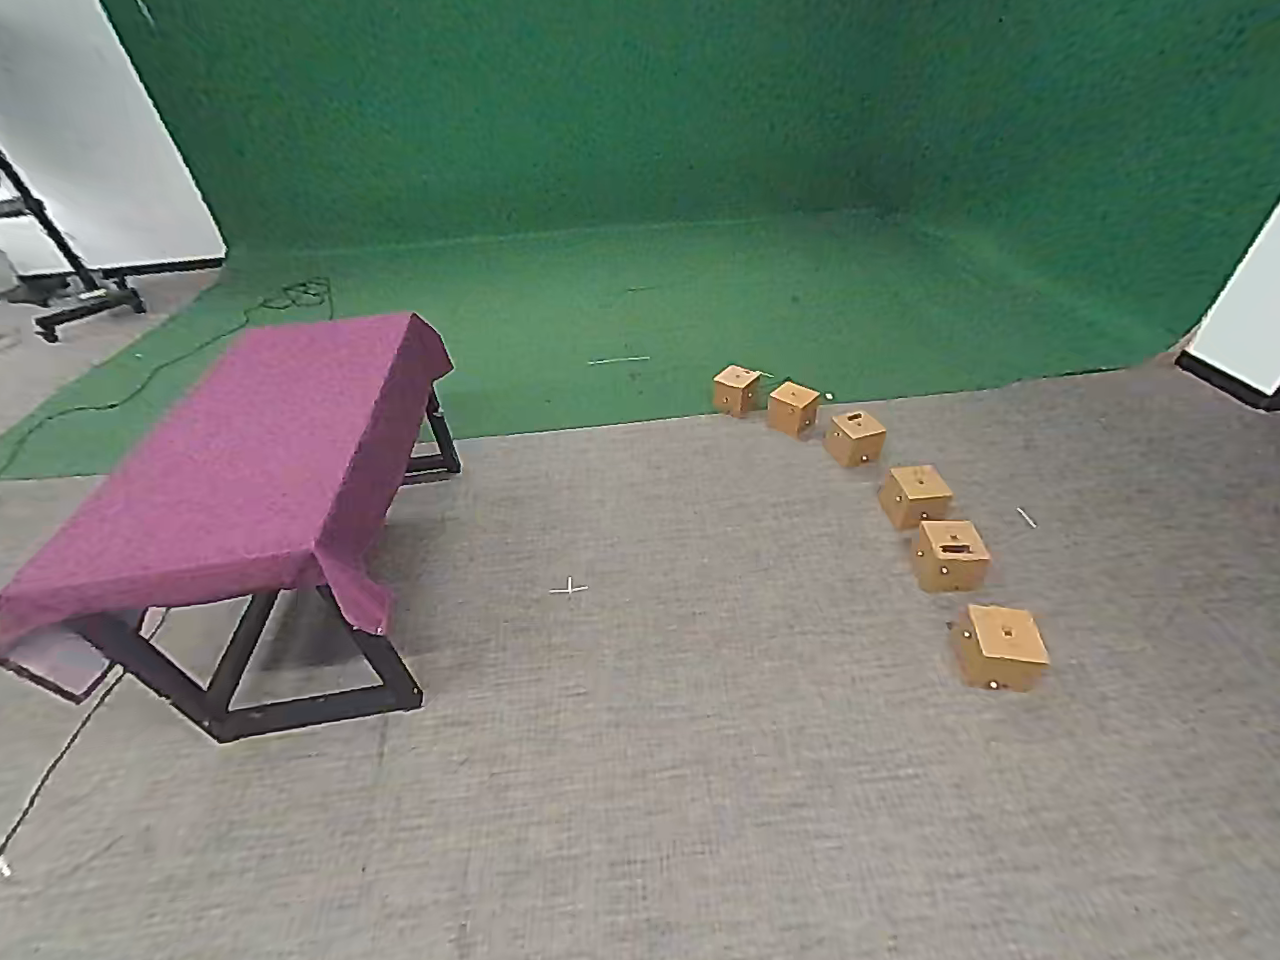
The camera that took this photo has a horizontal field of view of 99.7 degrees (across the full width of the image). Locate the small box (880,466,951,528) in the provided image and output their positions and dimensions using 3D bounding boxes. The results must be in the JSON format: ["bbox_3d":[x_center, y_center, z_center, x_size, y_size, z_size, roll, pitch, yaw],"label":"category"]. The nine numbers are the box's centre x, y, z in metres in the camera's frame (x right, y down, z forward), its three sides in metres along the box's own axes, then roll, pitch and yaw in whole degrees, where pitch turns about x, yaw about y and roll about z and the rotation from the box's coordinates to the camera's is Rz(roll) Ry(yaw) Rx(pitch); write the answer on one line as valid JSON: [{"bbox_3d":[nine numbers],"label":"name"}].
[{"bbox_3d":[1.037,0.069,2.049,0.168,0.176,0.179,-5,40,-2],"label":"small box"}]

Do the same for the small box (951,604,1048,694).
[{"bbox_3d":[1.026,0.488,1.565,0.168,0.176,0.179,5,42,11],"label":"small box"}]

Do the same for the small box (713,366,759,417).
[{"bbox_3d":[0.476,-0.440,2.689,0.168,0.176,0.179,26,50,30],"label":"small box"}]

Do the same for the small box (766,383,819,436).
[{"bbox_3d":[0.715,-0.331,2.547,0.179,0.176,0.168,31,51,33],"label":"small box"}]
